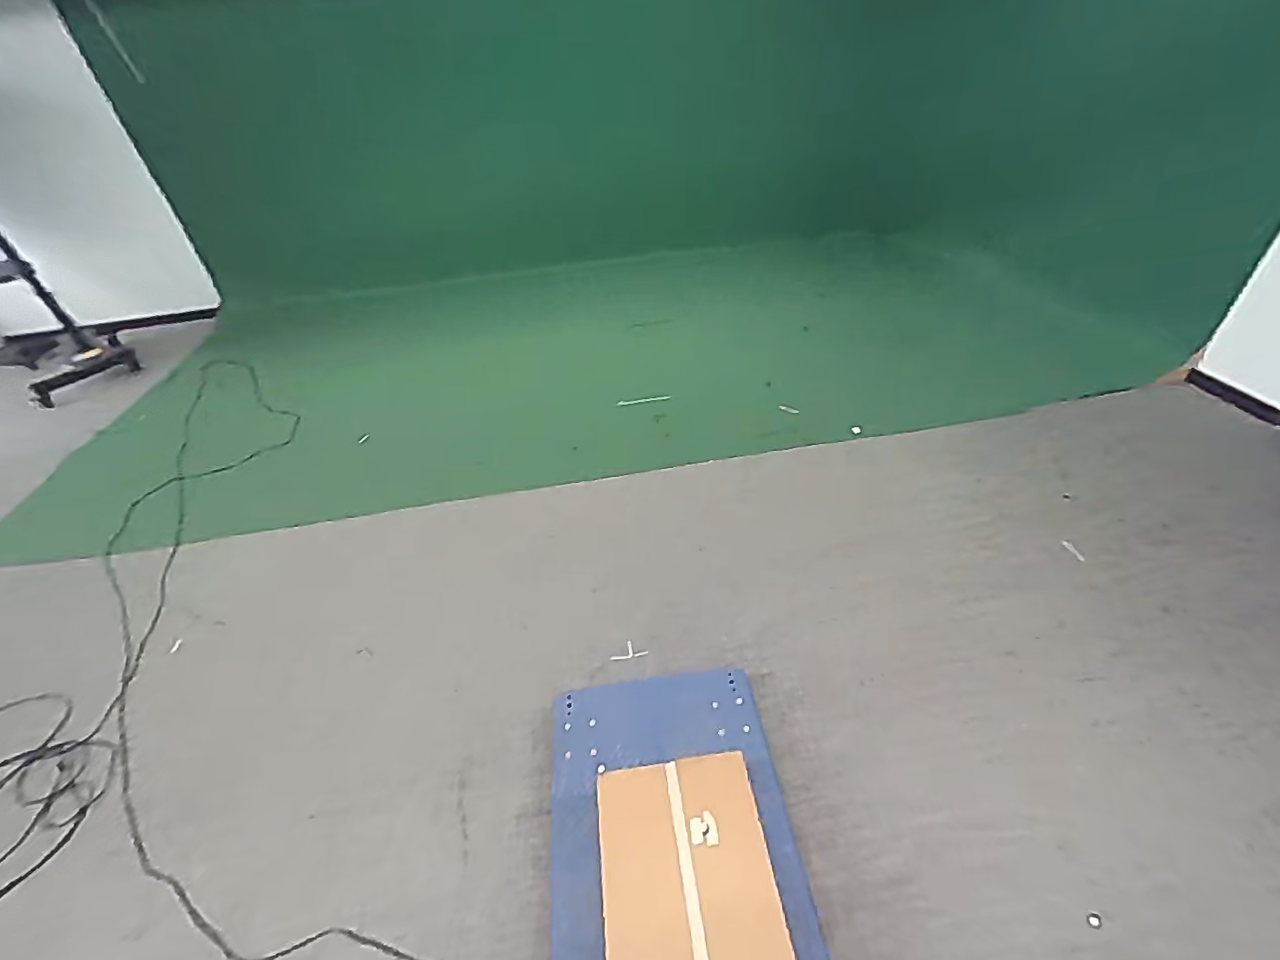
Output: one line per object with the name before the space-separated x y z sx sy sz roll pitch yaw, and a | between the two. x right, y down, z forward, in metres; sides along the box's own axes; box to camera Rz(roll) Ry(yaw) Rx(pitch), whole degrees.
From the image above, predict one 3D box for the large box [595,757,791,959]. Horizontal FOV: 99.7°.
large box | 0.093 0.851 1.088 0.320 0.320 0.408 -7 38 -3
